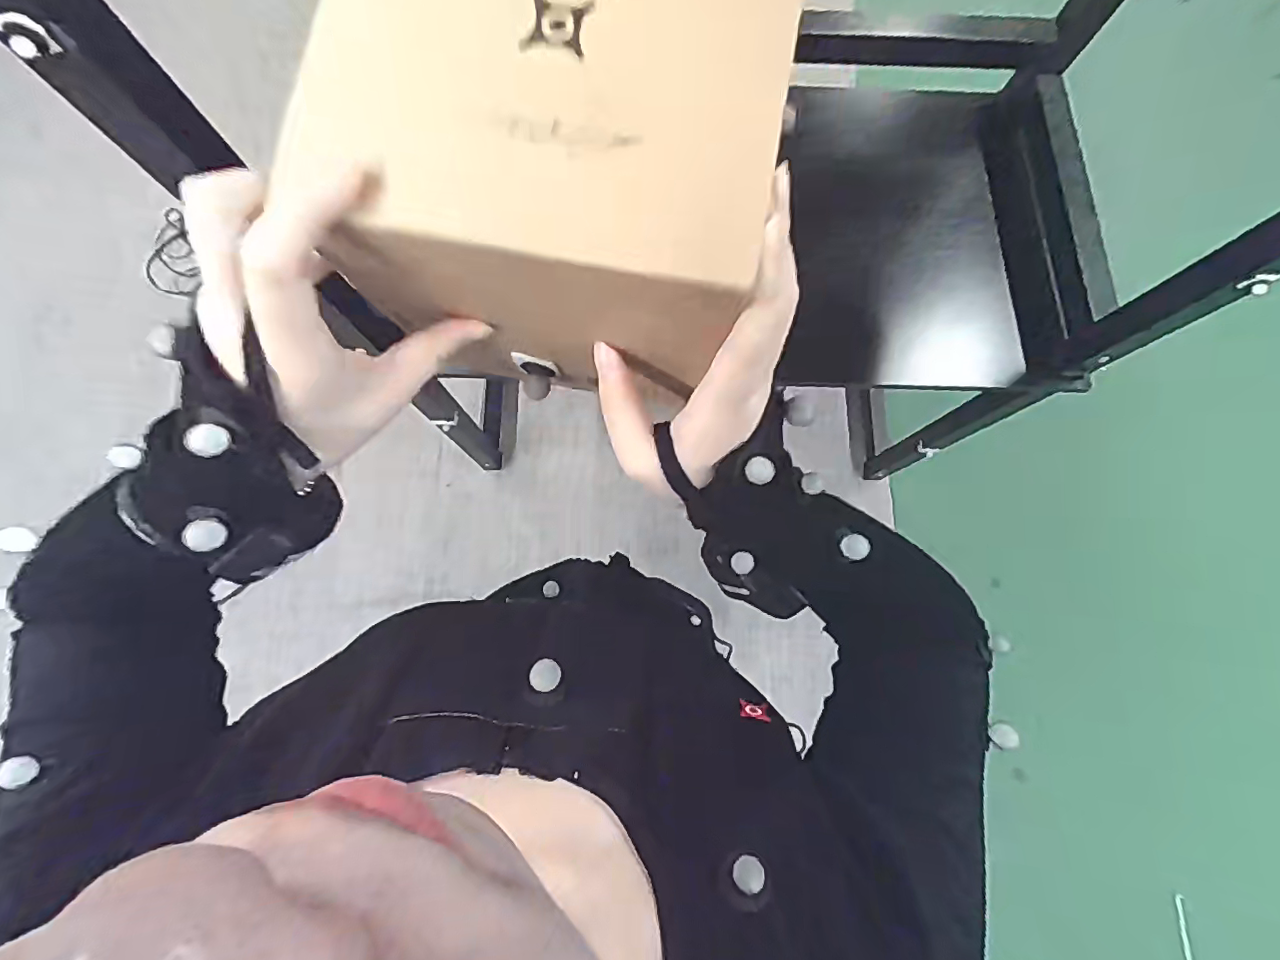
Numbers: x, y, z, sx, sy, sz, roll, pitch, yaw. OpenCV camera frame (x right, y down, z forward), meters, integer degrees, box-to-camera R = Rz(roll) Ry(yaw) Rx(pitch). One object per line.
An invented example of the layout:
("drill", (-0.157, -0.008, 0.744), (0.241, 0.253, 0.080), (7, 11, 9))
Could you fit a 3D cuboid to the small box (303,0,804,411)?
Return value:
("small box", (-0.025, -0.150, 0.279), (0.168, 0.176, 0.179), (10, 84, 2))
